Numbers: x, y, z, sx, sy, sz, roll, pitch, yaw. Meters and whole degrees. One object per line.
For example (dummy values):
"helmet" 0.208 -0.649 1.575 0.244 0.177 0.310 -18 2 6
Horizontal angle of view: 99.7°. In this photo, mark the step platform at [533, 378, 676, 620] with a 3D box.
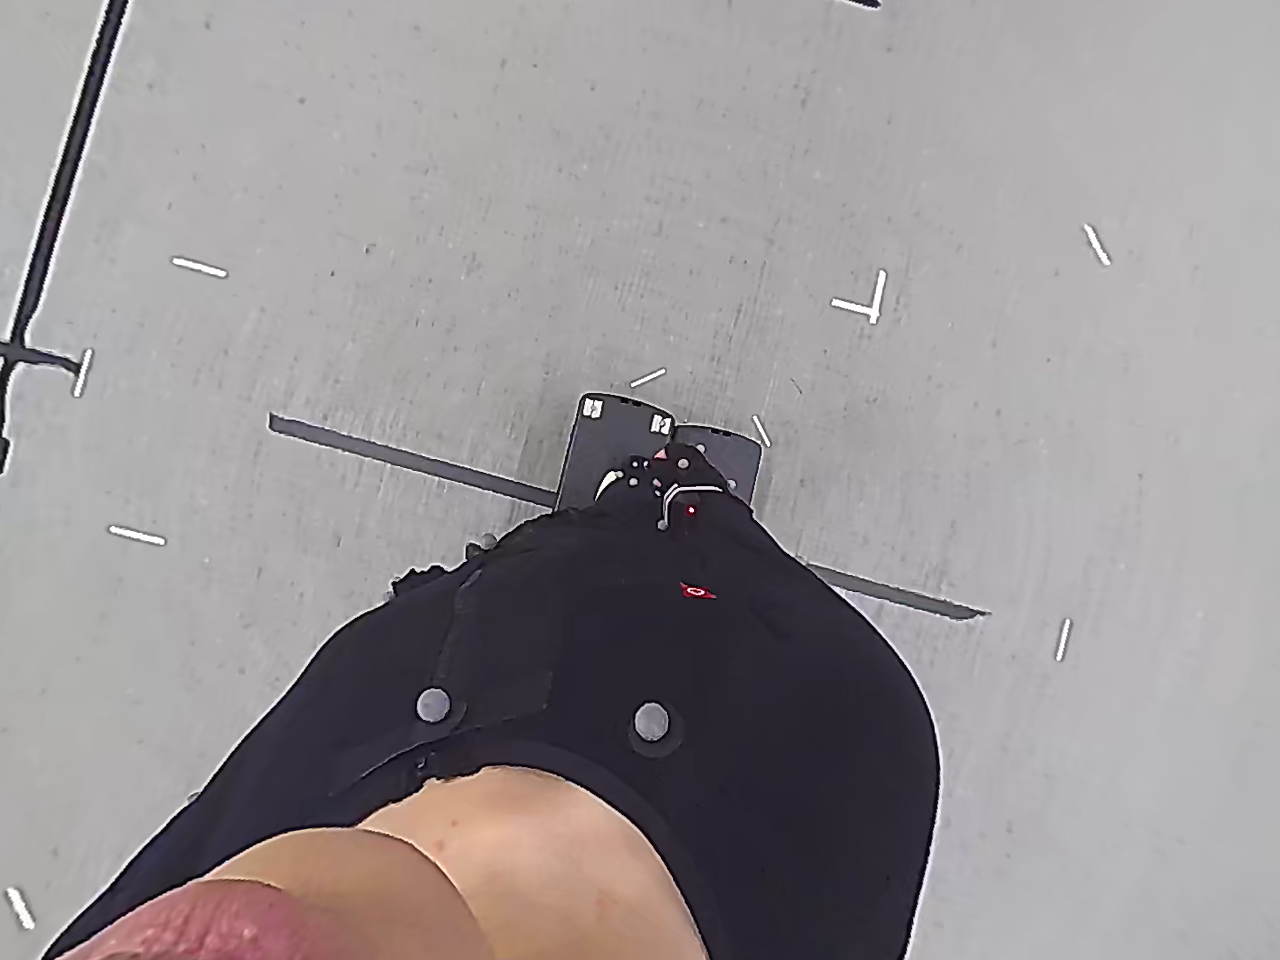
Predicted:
"step platform" -0.103 0.055 1.579 0.286 0.204 0.684 13 87 -4
